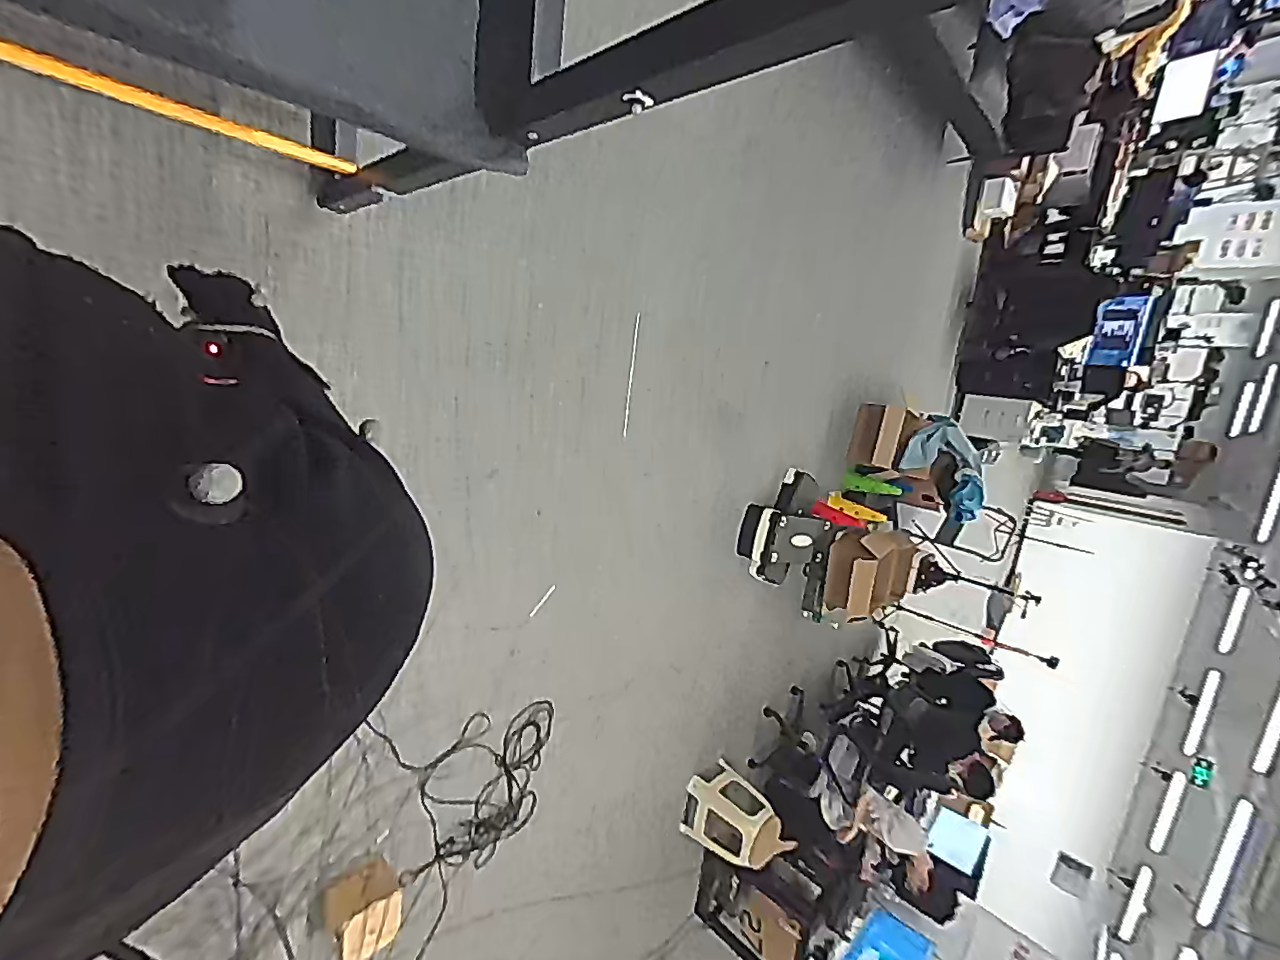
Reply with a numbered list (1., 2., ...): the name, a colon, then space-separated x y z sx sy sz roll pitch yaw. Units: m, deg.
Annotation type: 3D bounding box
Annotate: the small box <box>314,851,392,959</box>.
1. small box: -0.874 1.290 1.643 0.168 0.176 0.179 -5 106 -47
